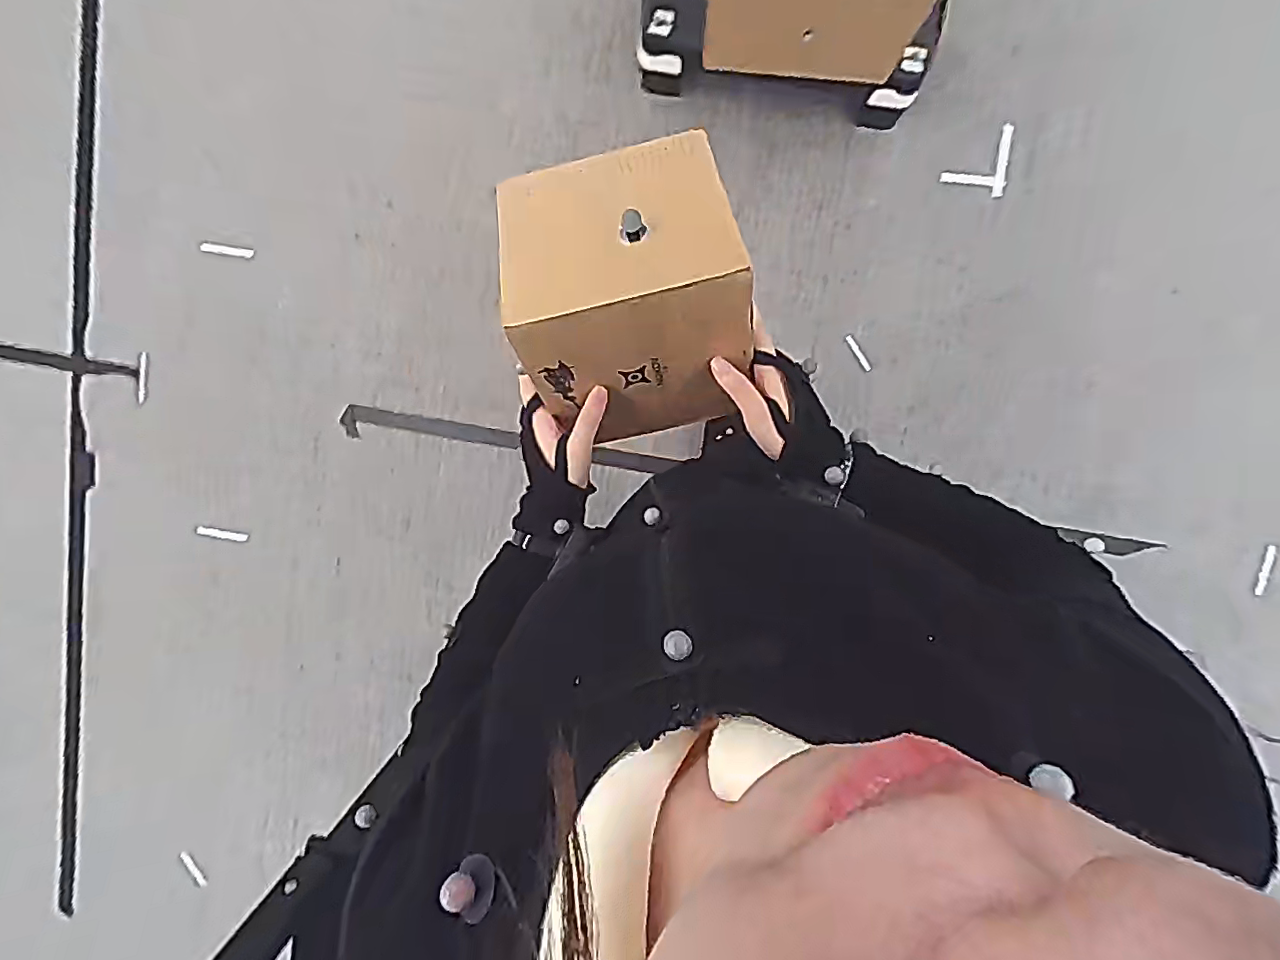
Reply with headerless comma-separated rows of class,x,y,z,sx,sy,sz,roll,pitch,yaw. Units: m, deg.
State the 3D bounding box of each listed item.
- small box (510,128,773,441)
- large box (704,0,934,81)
small box,0.001,-0.161,0.461,0.179,0.168,0.176,-12,60,4
large box,0.343,-1.023,1.033,0.408,0.320,0.320,6,95,4
